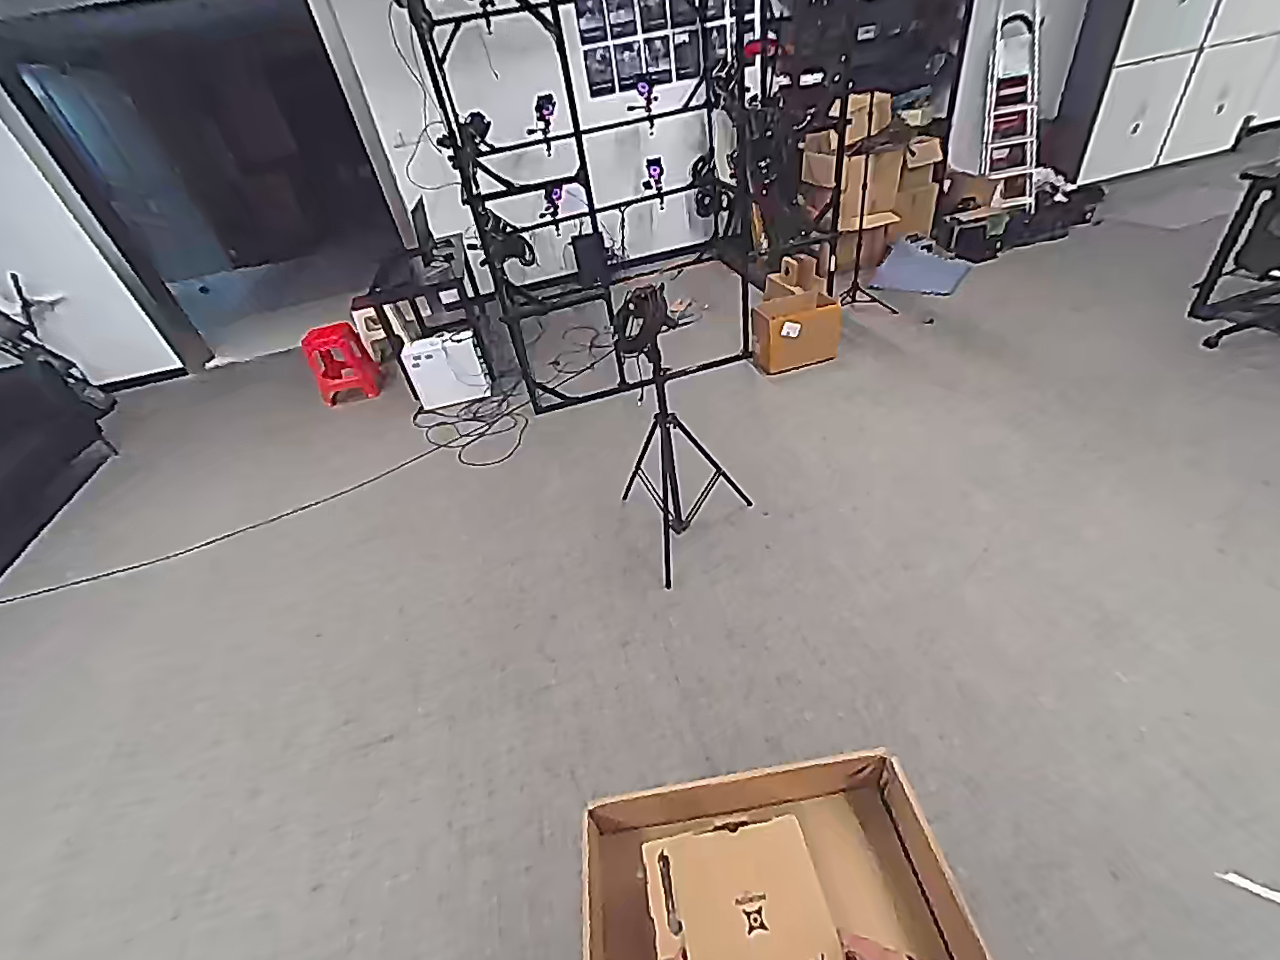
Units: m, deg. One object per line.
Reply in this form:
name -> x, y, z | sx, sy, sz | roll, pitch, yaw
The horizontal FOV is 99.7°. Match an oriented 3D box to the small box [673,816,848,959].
small box -> 0.134, 0.543, 0.645 | 0.168, 0.176, 0.179 | -8, 36, -4
